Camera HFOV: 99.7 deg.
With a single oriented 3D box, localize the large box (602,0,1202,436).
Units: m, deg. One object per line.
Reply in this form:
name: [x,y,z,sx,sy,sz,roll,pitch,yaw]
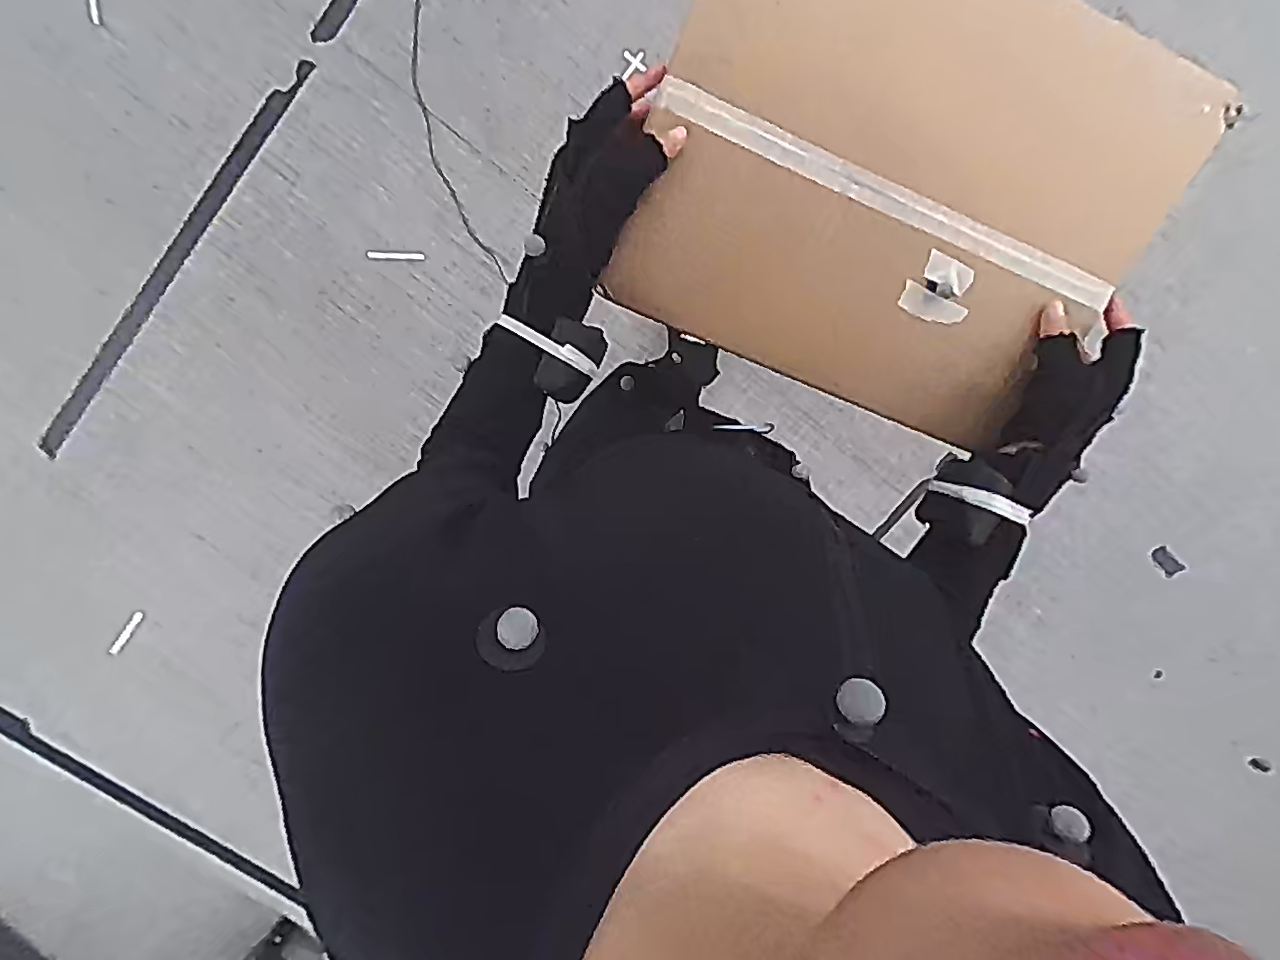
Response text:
large box: [0.202,-0.294,0.587,0.408,0.320,0.320,20,112,-8]
